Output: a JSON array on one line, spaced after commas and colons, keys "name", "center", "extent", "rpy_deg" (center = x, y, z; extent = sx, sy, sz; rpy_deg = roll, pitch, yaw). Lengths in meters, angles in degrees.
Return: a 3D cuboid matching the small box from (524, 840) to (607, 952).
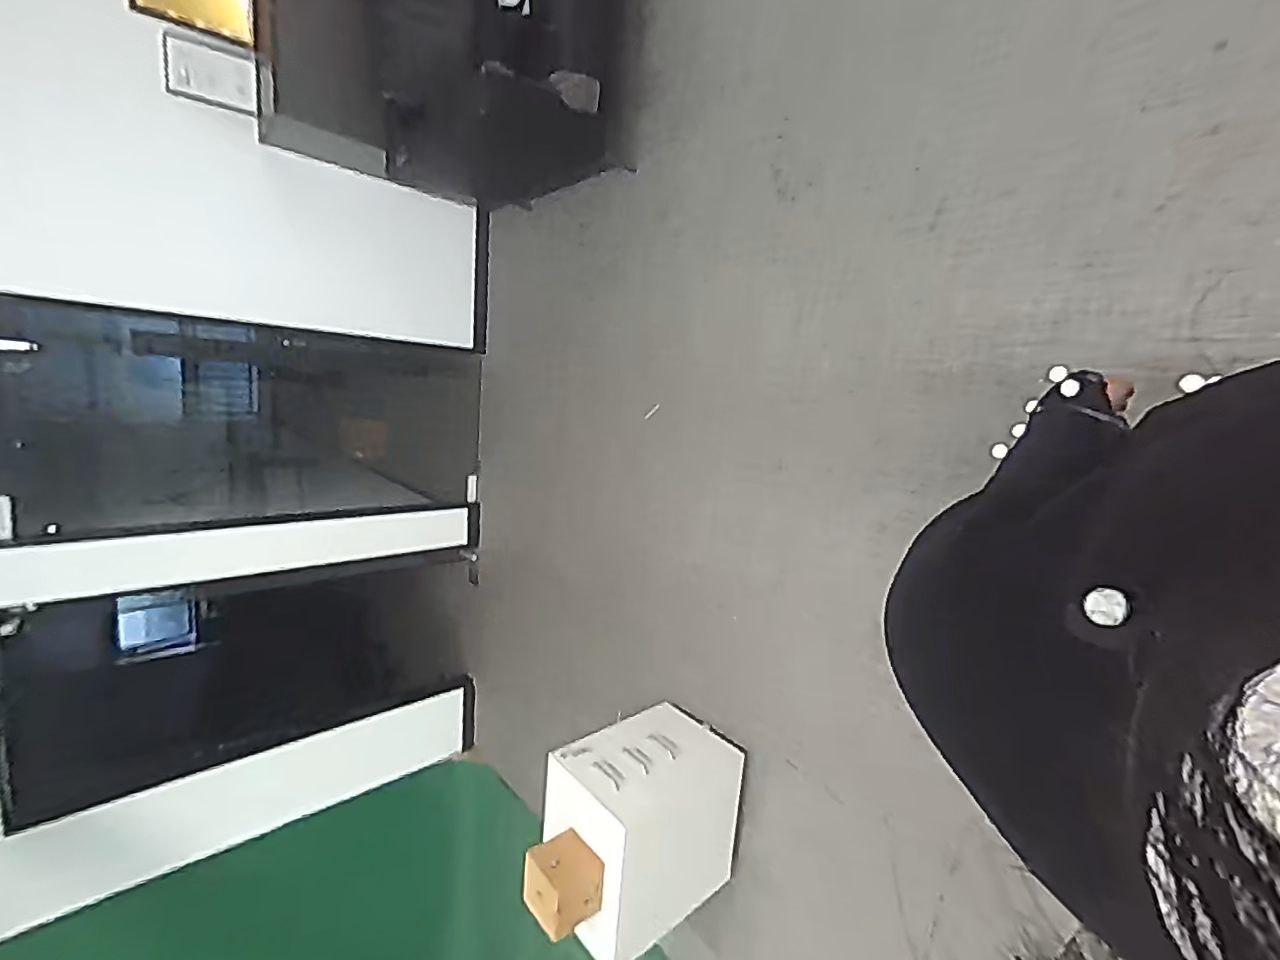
[{"name": "small box", "center": [-0.220, 1.205, 1.587], "extent": [0.179, 0.176, 0.168], "rpy_deg": [13, 102, 48]}]
